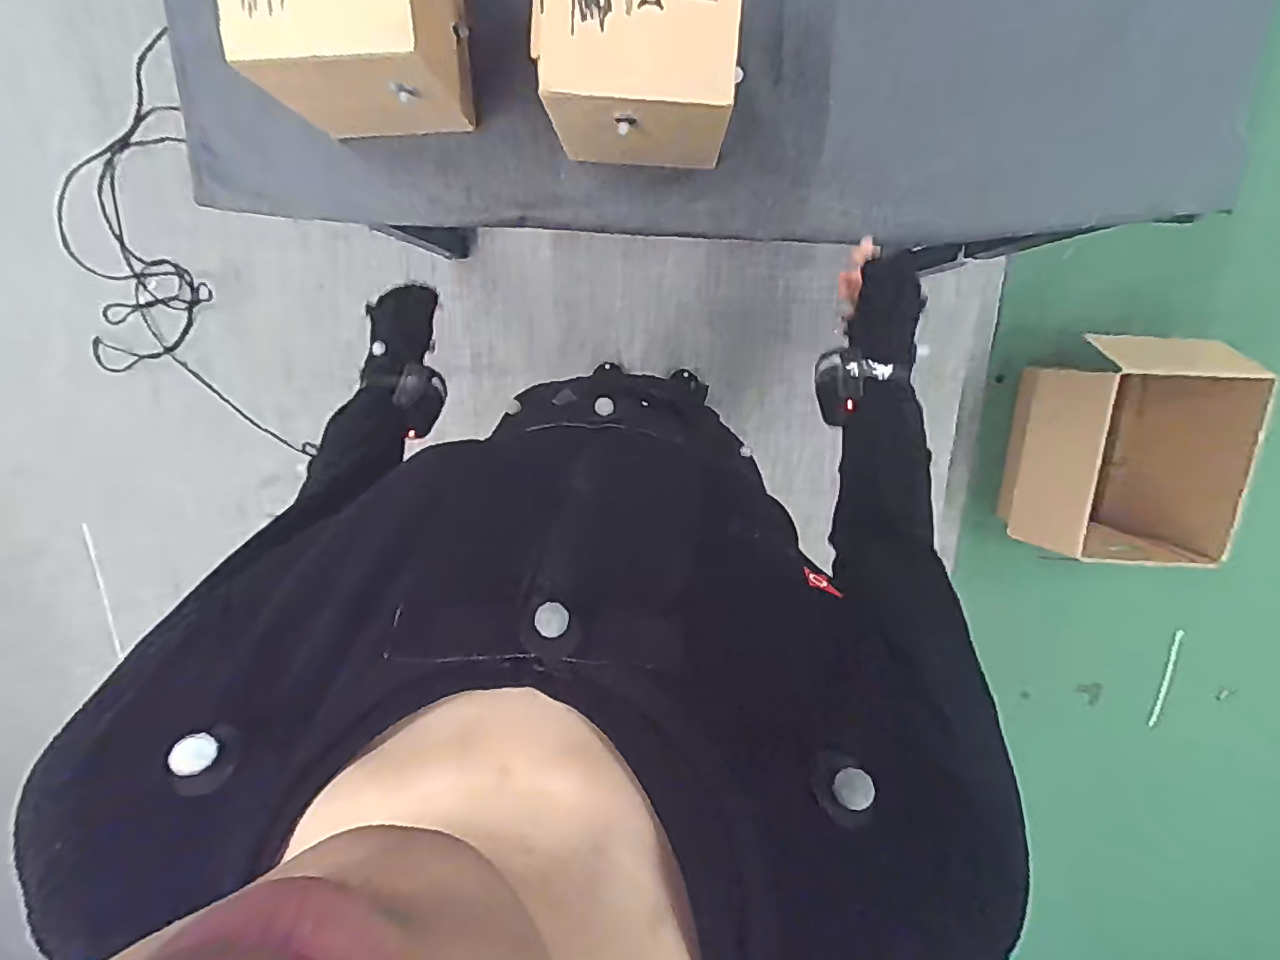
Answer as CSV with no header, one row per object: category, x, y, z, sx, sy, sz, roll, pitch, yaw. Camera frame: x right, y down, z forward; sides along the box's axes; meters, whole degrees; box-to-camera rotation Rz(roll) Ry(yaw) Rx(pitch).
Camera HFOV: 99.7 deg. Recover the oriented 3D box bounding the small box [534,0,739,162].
small box,0.001,-0.436,0.536,0.179,0.176,0.168,4,103,1
